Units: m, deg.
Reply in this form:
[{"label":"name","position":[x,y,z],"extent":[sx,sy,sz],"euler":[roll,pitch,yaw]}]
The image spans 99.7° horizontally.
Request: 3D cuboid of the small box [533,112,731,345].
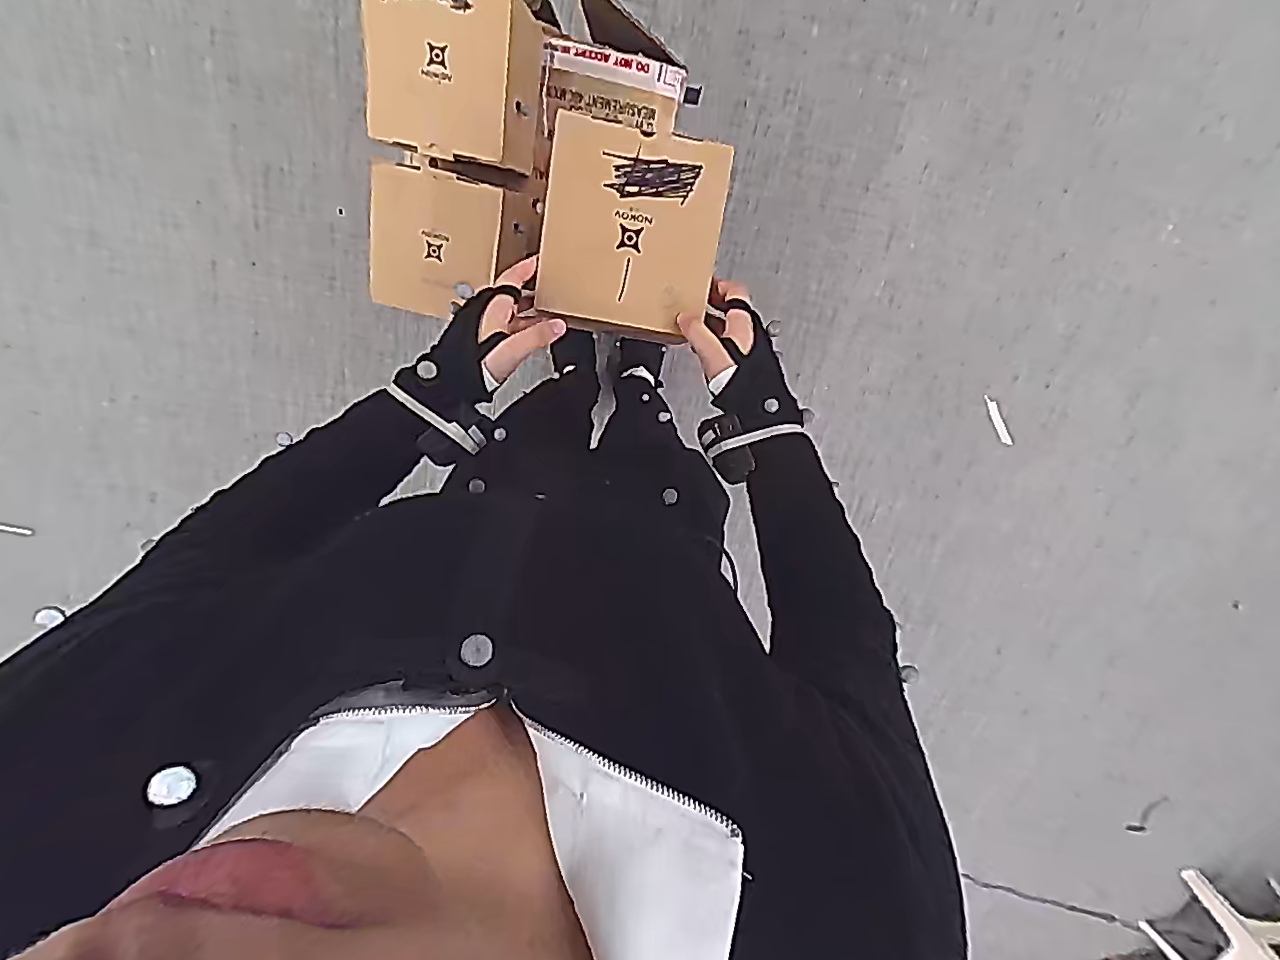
[{"label":"small box","position":[-0.015,-0.250,0.584],"extent":[0.168,0.176,0.179],"euler":[8,101,-6]}]
